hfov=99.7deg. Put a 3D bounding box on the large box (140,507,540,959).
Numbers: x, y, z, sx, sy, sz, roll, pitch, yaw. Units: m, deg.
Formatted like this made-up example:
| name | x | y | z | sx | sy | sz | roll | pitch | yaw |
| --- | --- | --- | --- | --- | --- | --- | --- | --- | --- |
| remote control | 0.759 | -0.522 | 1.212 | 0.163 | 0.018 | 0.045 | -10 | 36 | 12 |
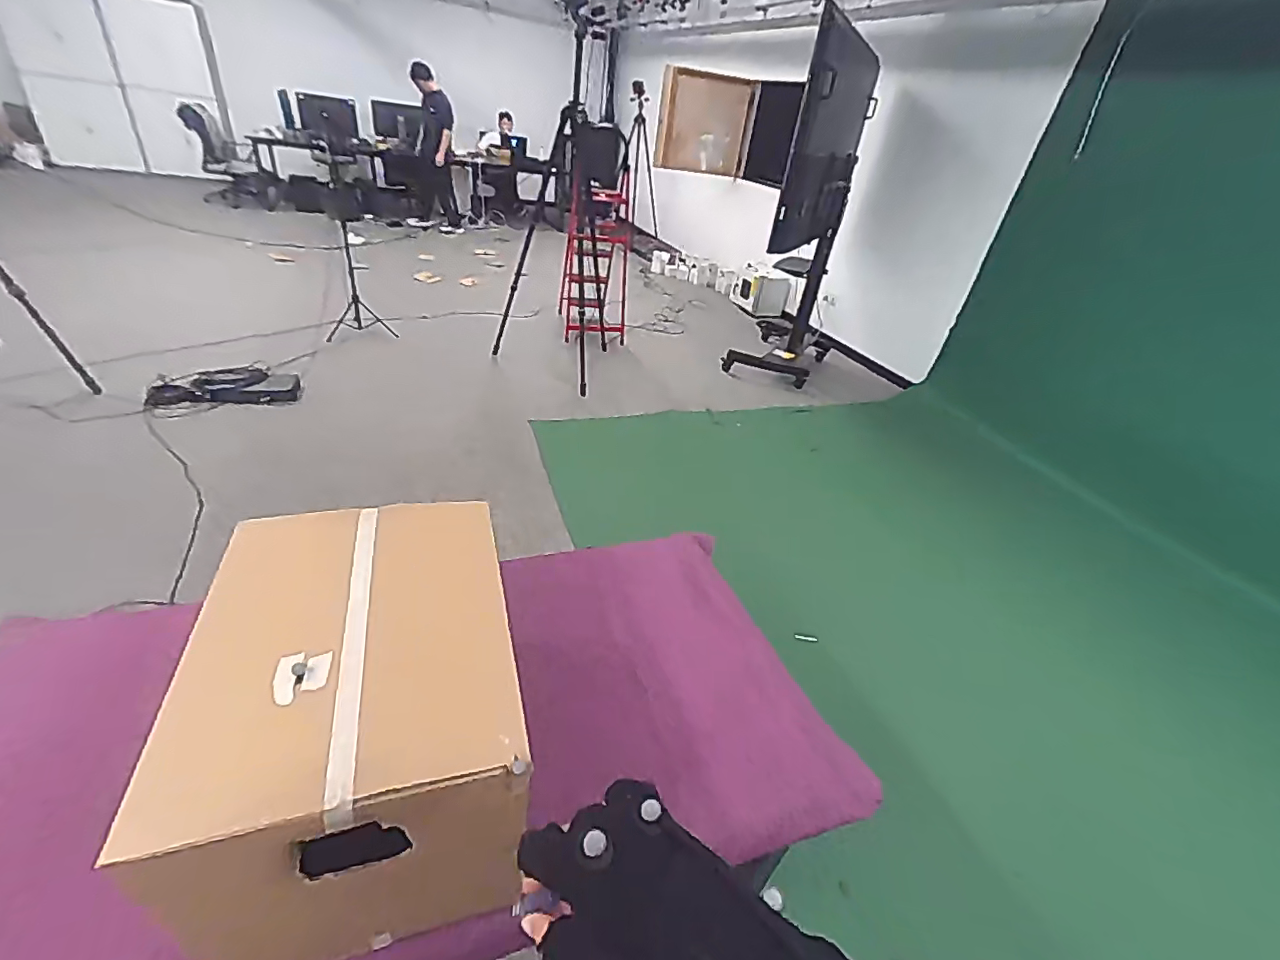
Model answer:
| name | x | y | z | sx | sy | sz | roll | pitch | yaw |
| --- | --- | --- | --- | --- | --- | --- | --- | --- | --- |
| large box | -0.325 | 0.281 | 0.689 | 0.320 | 0.320 | 0.408 | -4 | 36 | -20 |
